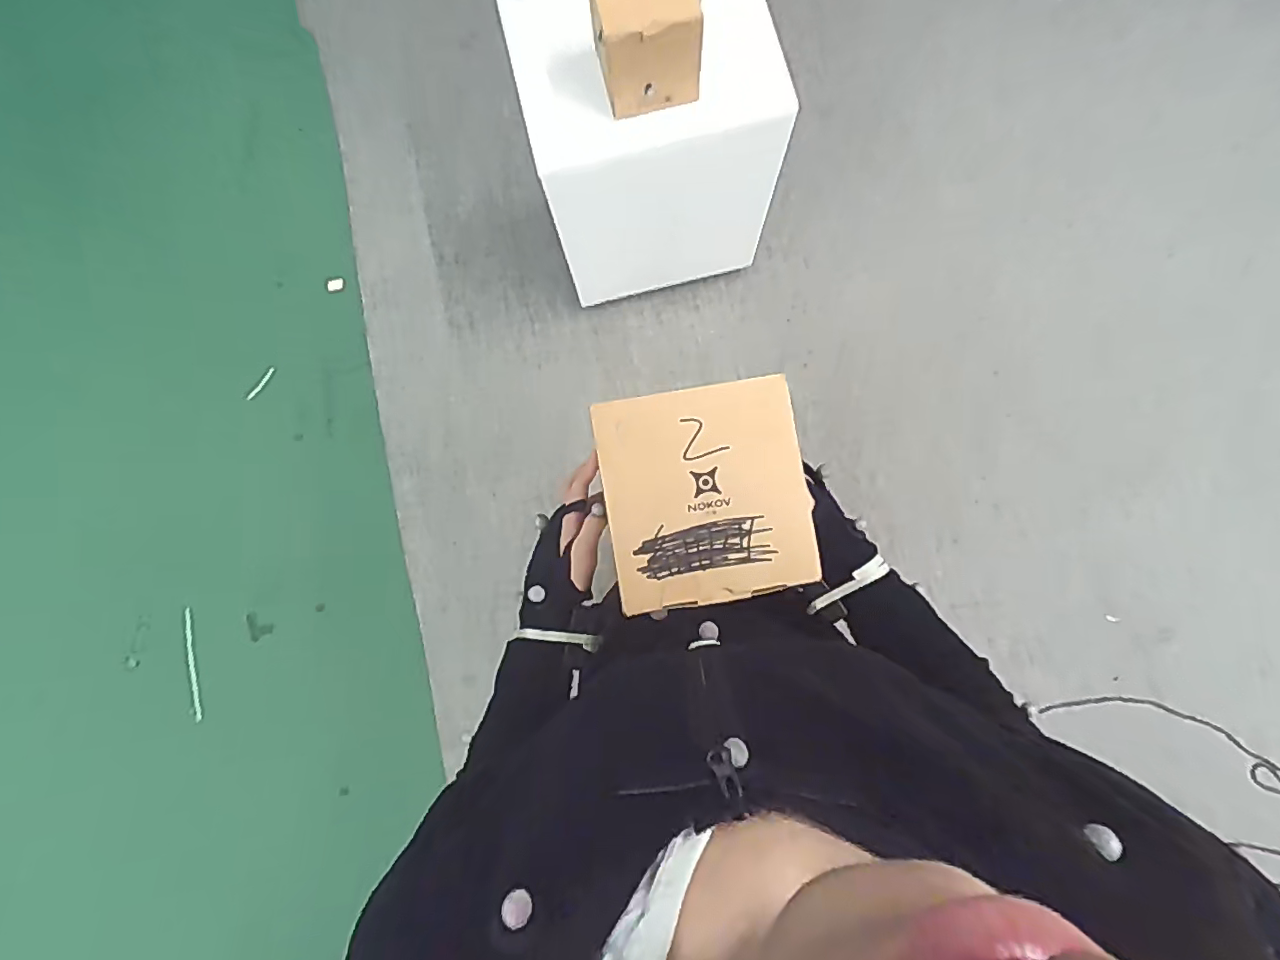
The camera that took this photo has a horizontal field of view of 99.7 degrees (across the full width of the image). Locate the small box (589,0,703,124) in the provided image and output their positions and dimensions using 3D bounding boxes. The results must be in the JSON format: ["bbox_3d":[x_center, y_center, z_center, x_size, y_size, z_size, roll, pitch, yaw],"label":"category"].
[{"bbox_3d":[0.006,-0.779,0.951,0.168,0.176,0.179,-14,81,0],"label":"small box"}]
